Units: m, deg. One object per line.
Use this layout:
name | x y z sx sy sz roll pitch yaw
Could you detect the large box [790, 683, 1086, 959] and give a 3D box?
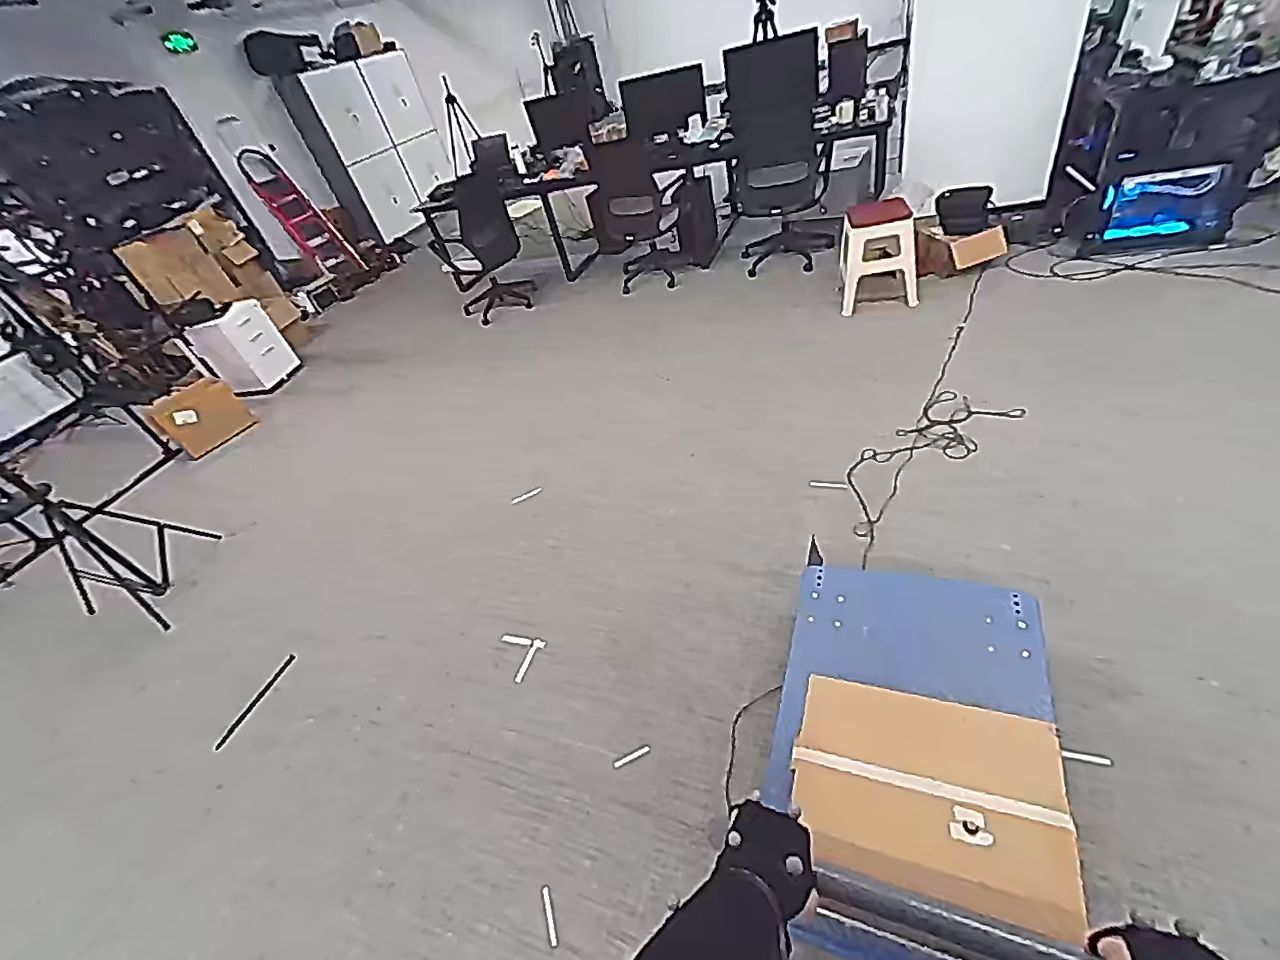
large box | 0.507 0.626 1.004 0.408 0.320 0.320 4 47 24
